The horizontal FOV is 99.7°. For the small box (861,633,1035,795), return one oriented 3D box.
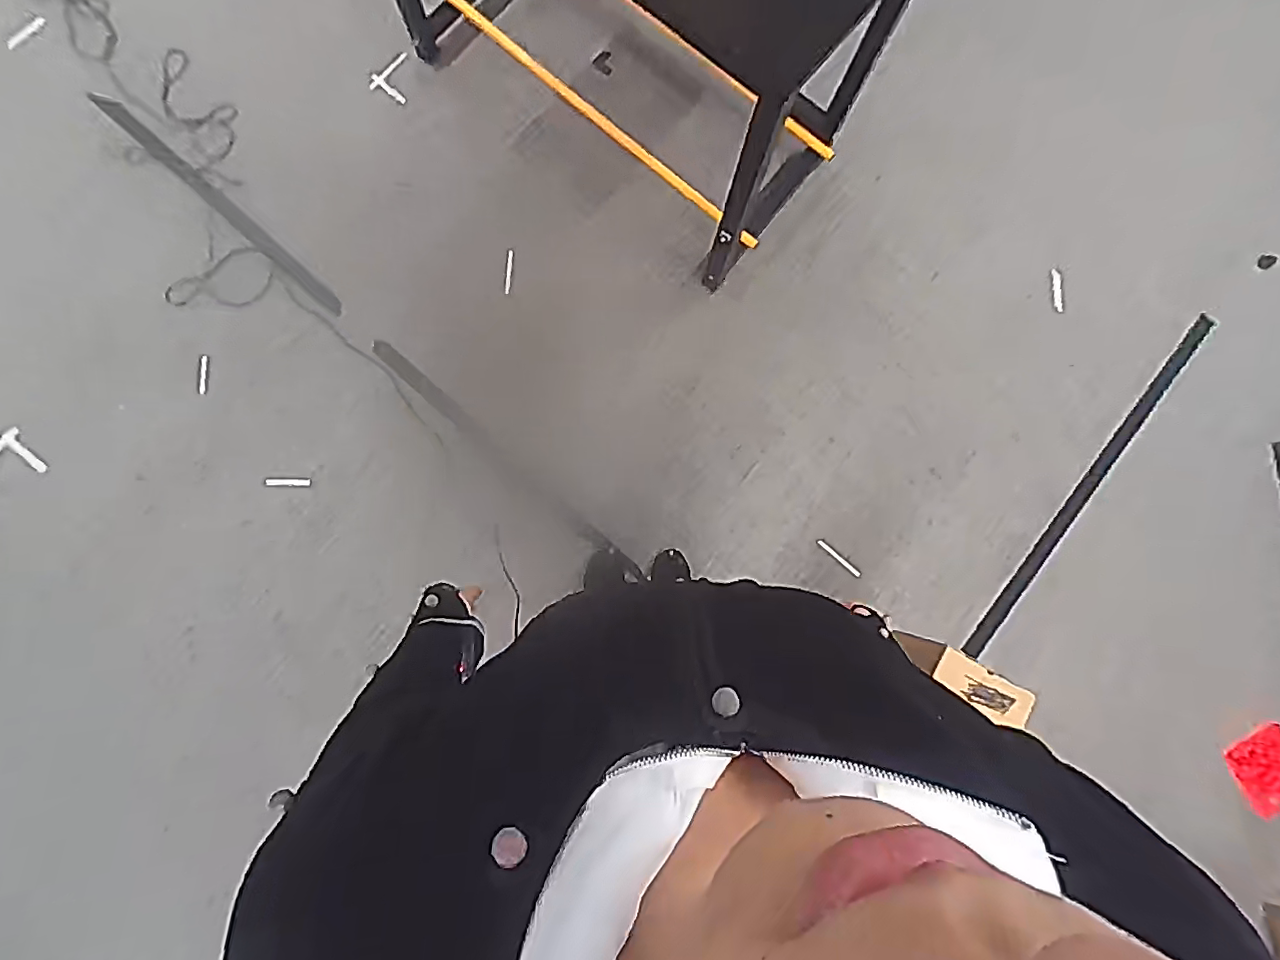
[{"bbox_3d":[0.513,0.384,0.928,0.168,0.176,0.179,30,82,1],"label":"small box"}]
